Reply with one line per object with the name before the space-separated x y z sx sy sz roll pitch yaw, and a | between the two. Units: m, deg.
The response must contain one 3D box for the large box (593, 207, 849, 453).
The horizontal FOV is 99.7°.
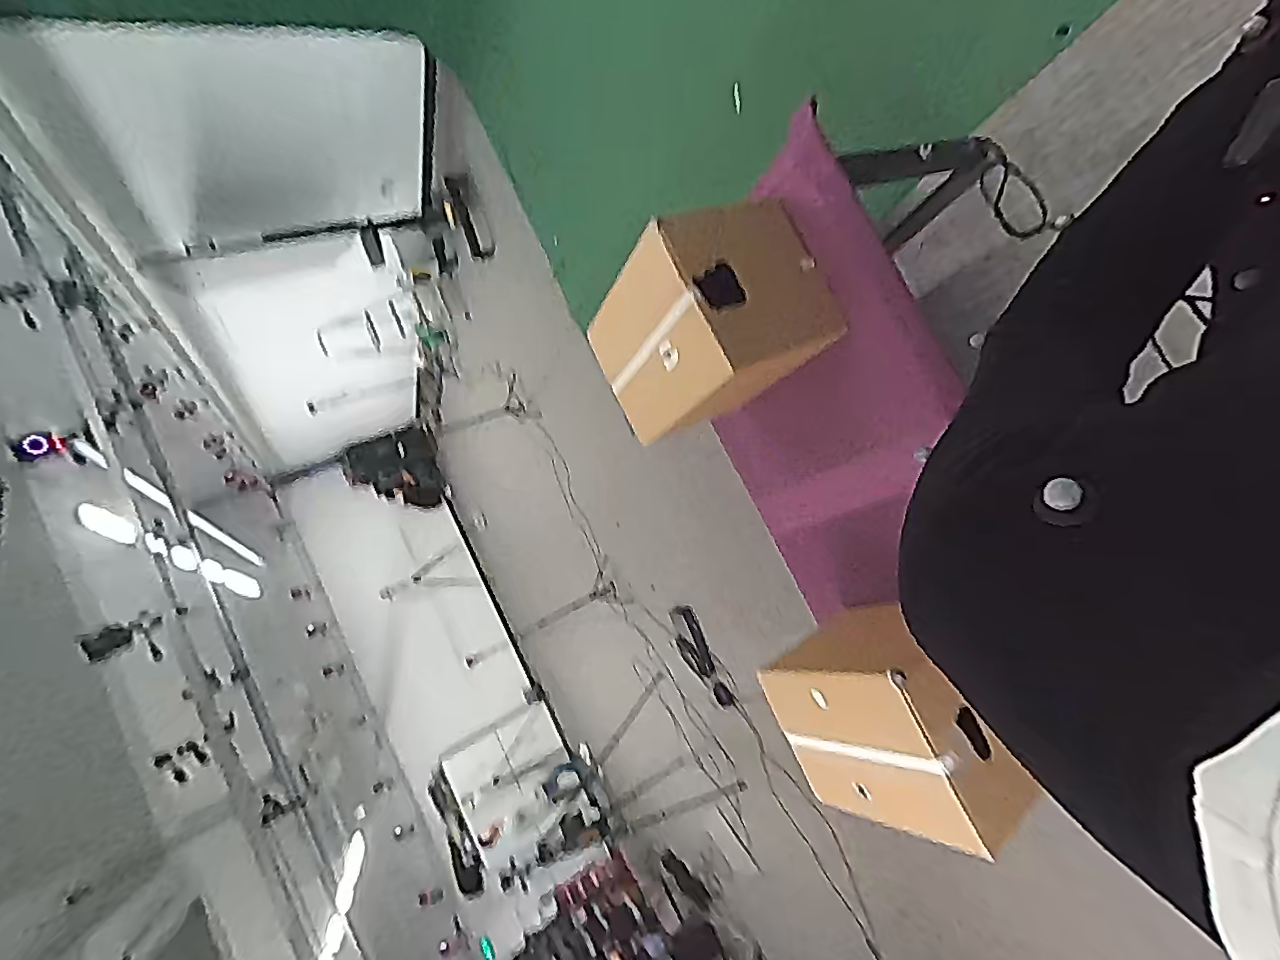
large box | 0.149 -0.305 1.164 0.320 0.320 0.408 62 151 5
